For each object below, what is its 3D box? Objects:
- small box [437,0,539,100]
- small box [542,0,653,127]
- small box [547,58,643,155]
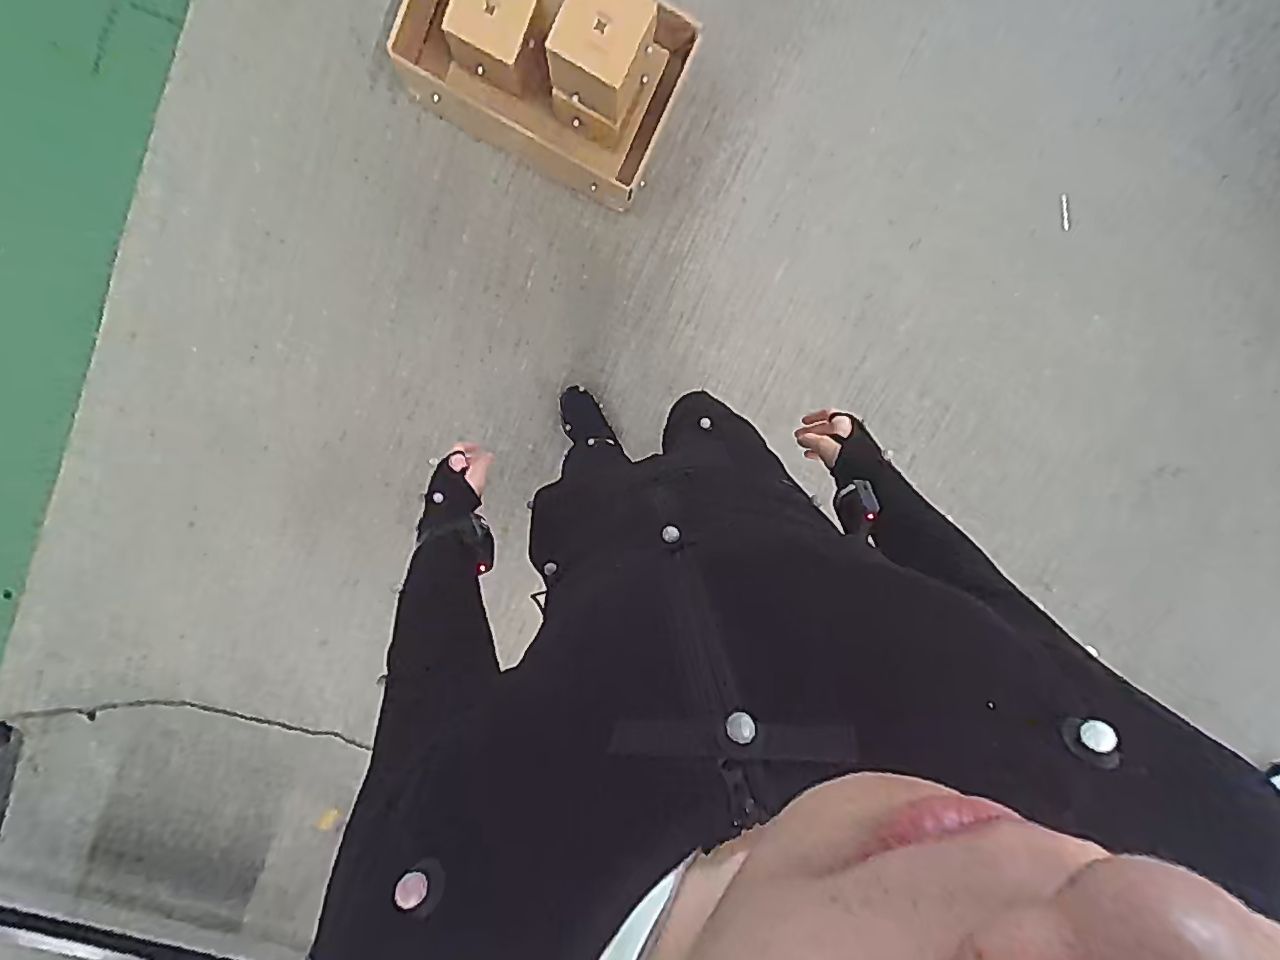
[{"bbox_3d":[-0.340,-1.032,1.247,0.168,0.176,0.179,23,98,-11],"label":"small box"},{"bbox_3d":[-0.092,-0.898,1.134,0.168,0.176,0.179,26,97,-9],"label":"small box"},{"bbox_3d":[-0.107,-0.923,1.295,0.168,0.176,0.179,24,97,-10],"label":"small box"}]
